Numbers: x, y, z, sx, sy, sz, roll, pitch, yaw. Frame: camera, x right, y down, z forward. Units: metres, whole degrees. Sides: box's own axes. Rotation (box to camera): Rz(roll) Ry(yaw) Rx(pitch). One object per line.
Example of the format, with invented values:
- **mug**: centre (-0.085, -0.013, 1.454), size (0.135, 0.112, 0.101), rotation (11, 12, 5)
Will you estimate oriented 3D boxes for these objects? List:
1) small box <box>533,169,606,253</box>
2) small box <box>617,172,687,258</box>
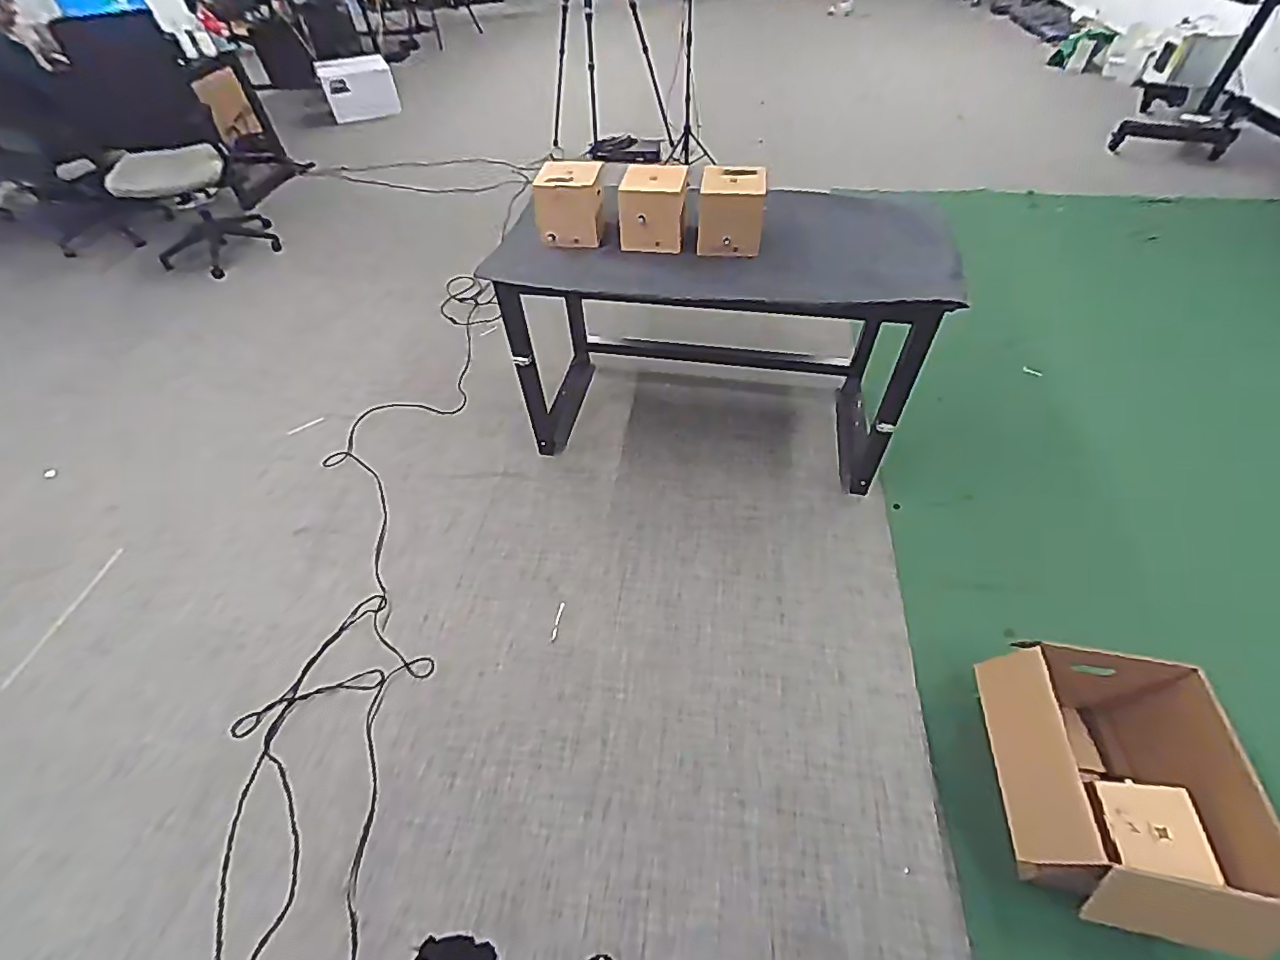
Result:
- **small box**: centre (-0.192, -0.766, 1.542), size (0.168, 0.176, 0.179), rotation (4, 48, 6)
- **small box**: centre (0.039, -0.736, 1.506), size (0.168, 0.176, 0.179), rotation (6, 49, 8)
